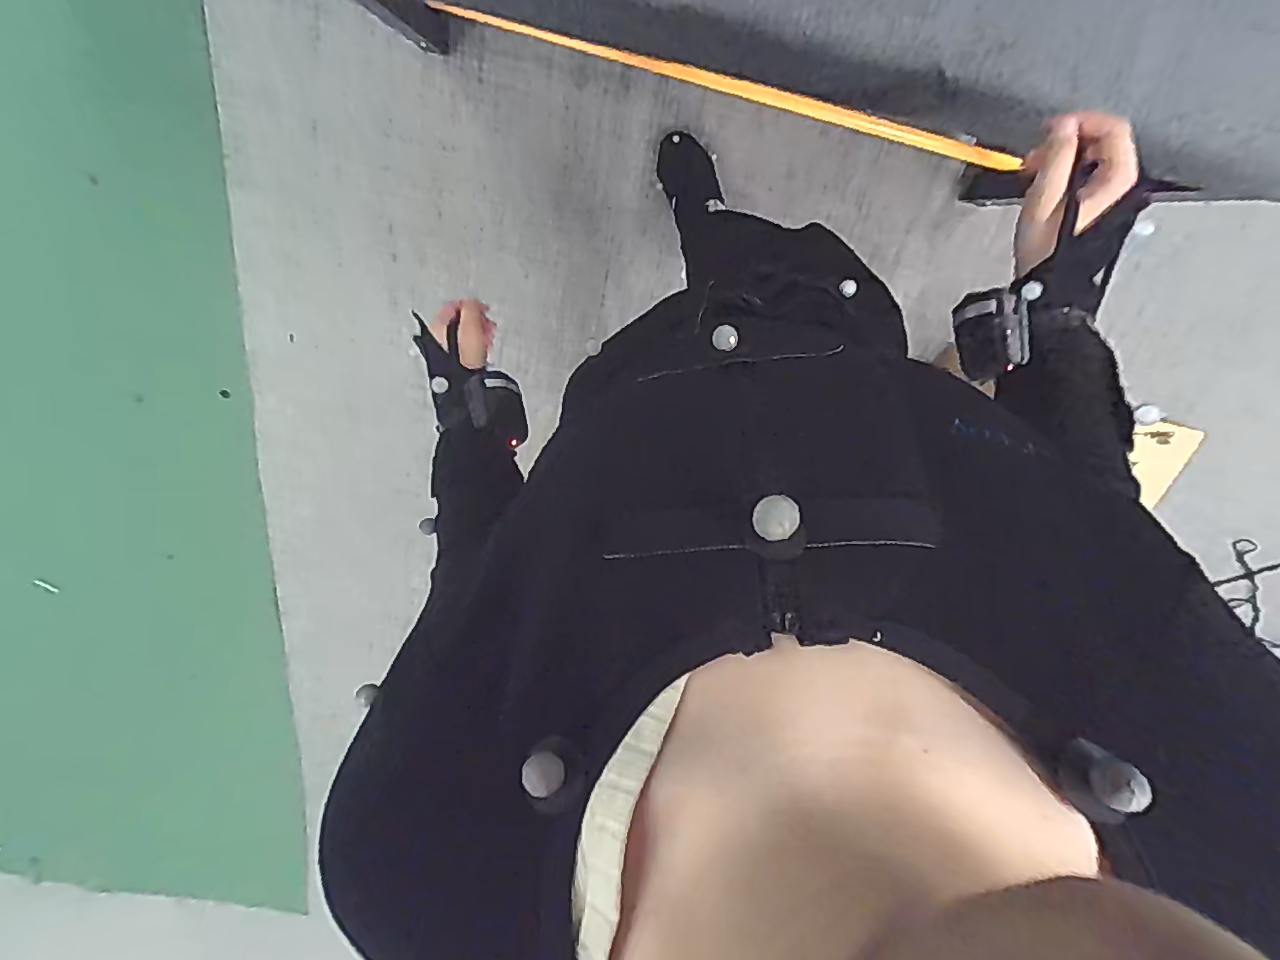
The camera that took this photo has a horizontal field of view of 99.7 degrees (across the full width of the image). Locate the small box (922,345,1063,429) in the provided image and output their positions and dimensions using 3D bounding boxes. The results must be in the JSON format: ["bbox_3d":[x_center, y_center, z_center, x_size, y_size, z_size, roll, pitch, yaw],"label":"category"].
[{"bbox_3d":[0.791,-0.198,1.232,0.179,0.176,0.168,13,115,-5],"label":"small box"}]

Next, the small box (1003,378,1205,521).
[{"bbox_3d":[0.778,-0.057,0.936,0.168,0.176,0.179,12,116,-5],"label":"small box"}]
